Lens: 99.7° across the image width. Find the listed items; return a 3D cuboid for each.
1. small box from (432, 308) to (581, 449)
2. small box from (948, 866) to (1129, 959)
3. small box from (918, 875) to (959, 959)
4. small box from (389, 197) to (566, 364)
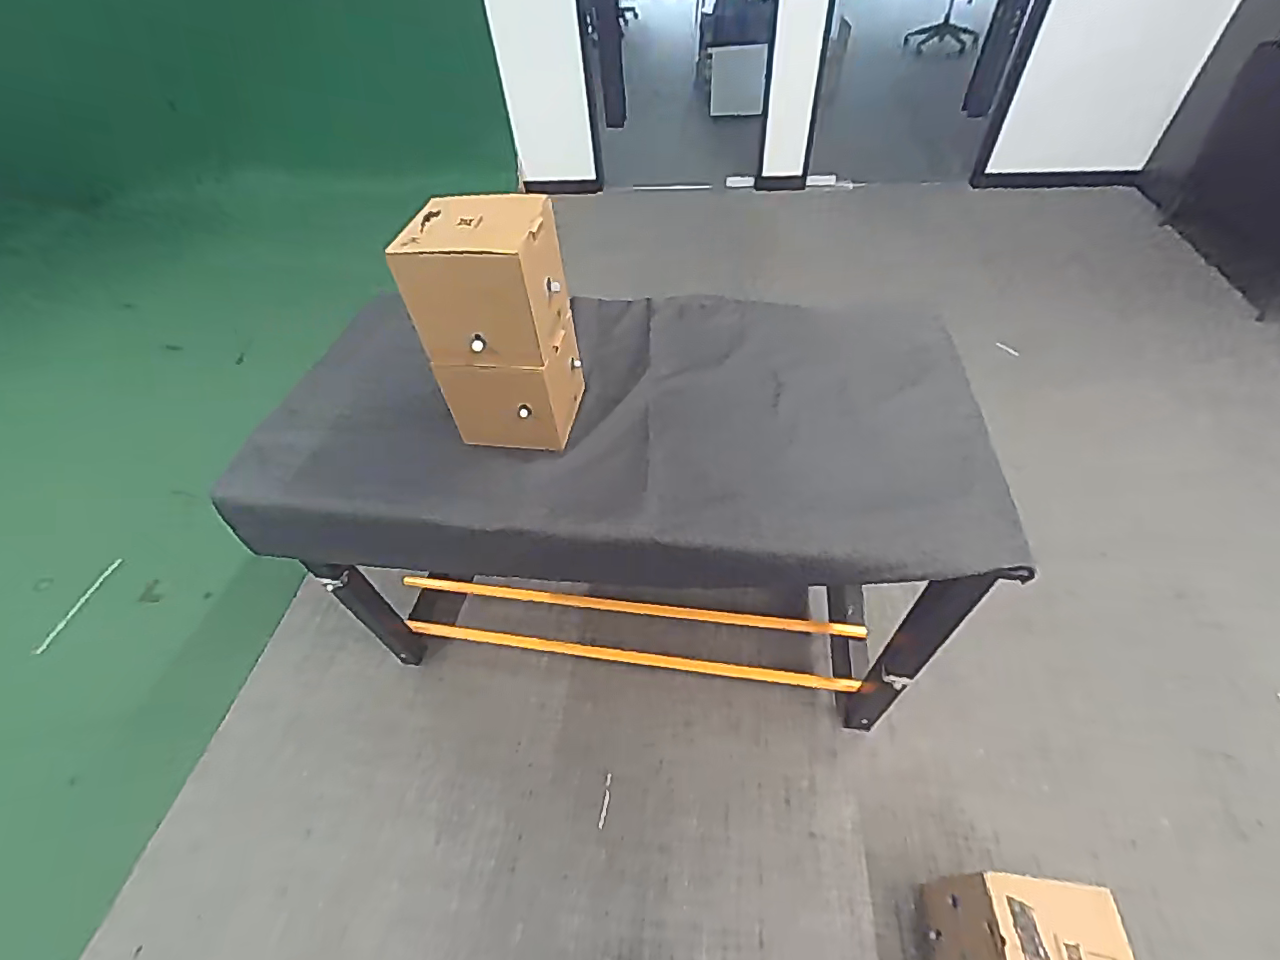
[{"bbox_3d":[-0.203,-0.167,0.888,0.179,0.176,0.168,4,48,8],"label":"small box"},{"bbox_3d":[0.592,0.705,0.817,0.179,0.176,0.168,4,50,7],"label":"small box"},{"bbox_3d":[0.615,0.811,0.942,0.179,0.176,0.168,5,49,9],"label":"small box"},{"bbox_3d":[-0.213,-0.281,0.770,0.179,0.176,0.168,4,49,7],"label":"small box"}]
